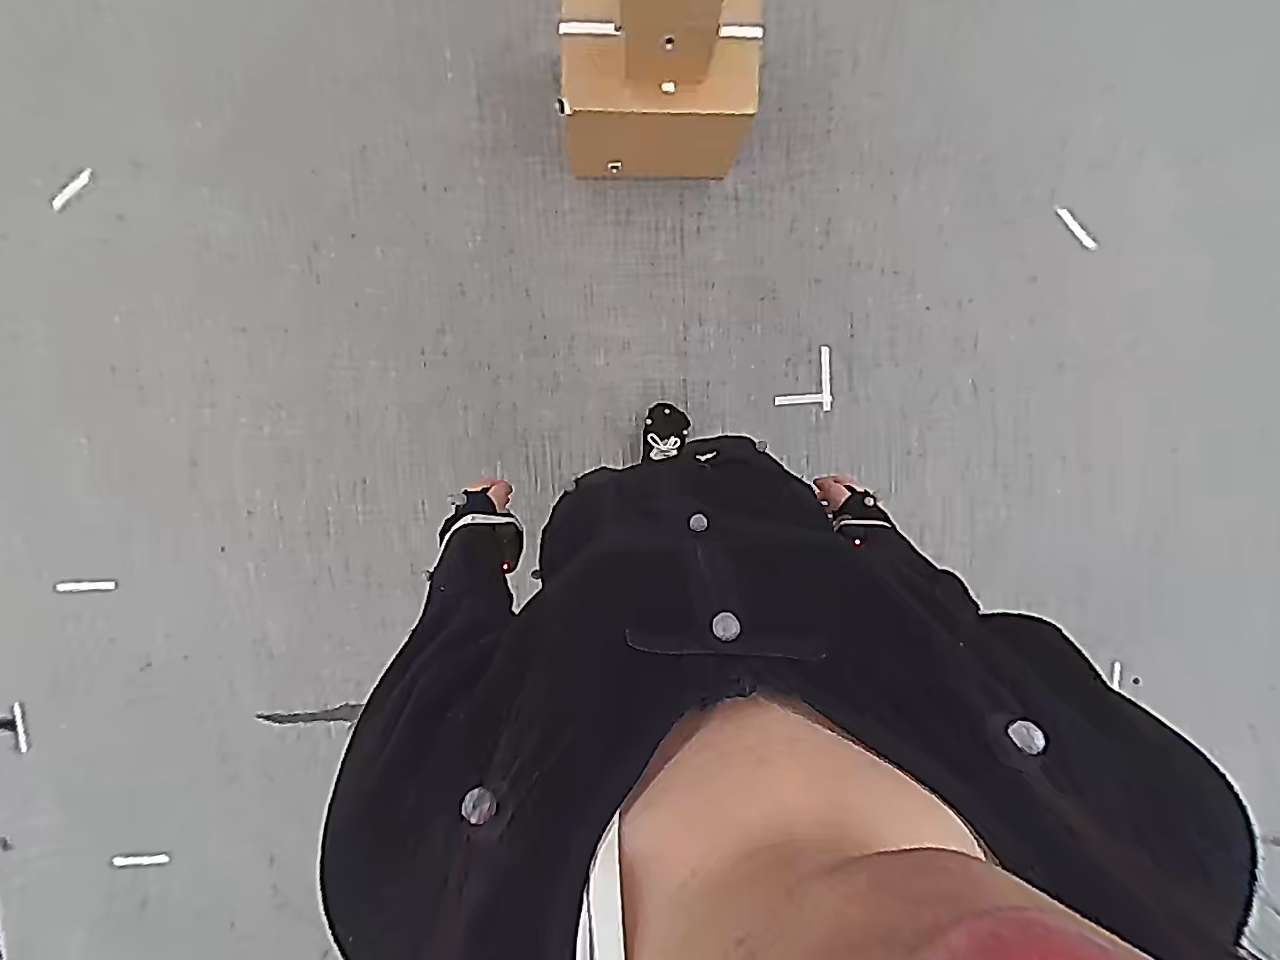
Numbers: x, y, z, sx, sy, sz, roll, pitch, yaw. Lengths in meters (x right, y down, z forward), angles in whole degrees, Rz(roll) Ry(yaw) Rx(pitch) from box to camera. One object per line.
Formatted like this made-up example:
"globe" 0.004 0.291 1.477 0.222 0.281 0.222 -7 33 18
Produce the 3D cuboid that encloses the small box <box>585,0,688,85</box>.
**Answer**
"small box" -0.013 -0.882 1.020 0.179 0.176 0.168 -7 97 -3
